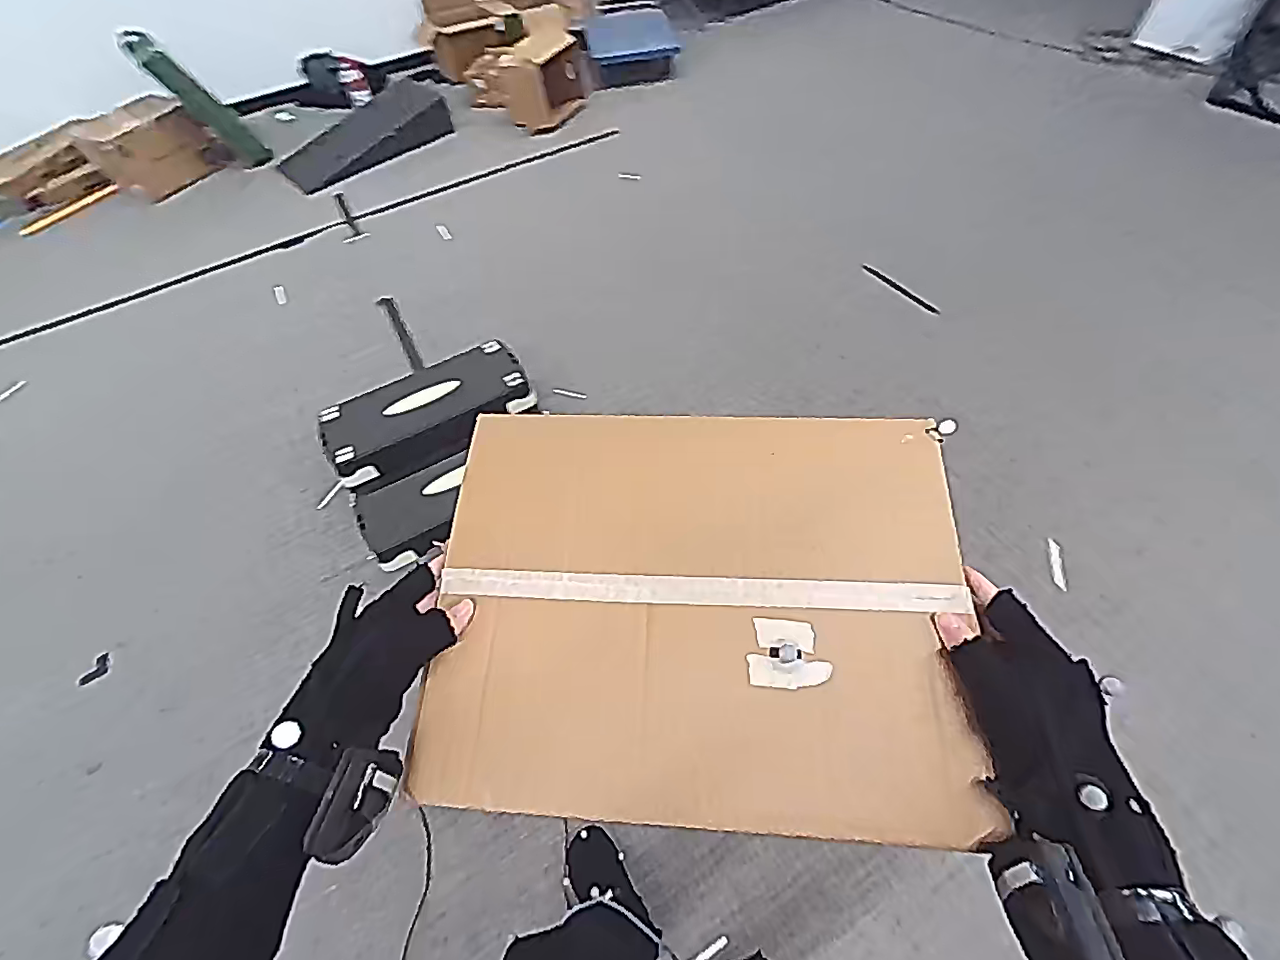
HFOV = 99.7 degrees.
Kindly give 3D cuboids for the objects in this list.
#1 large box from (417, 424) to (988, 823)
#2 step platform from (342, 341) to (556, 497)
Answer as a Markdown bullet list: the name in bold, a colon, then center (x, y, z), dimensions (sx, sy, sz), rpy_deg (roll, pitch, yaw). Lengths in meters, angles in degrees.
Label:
- **large box**: center (0.049, 0.152, 0.569), dimensions (0.408, 0.320, 0.320), rpy_deg (1, 66, 5)
- **step platform**: center (-0.648, -0.223, 1.864), dimensions (0.684, 0.204, 0.286), rpy_deg (-27, 57, -15)
